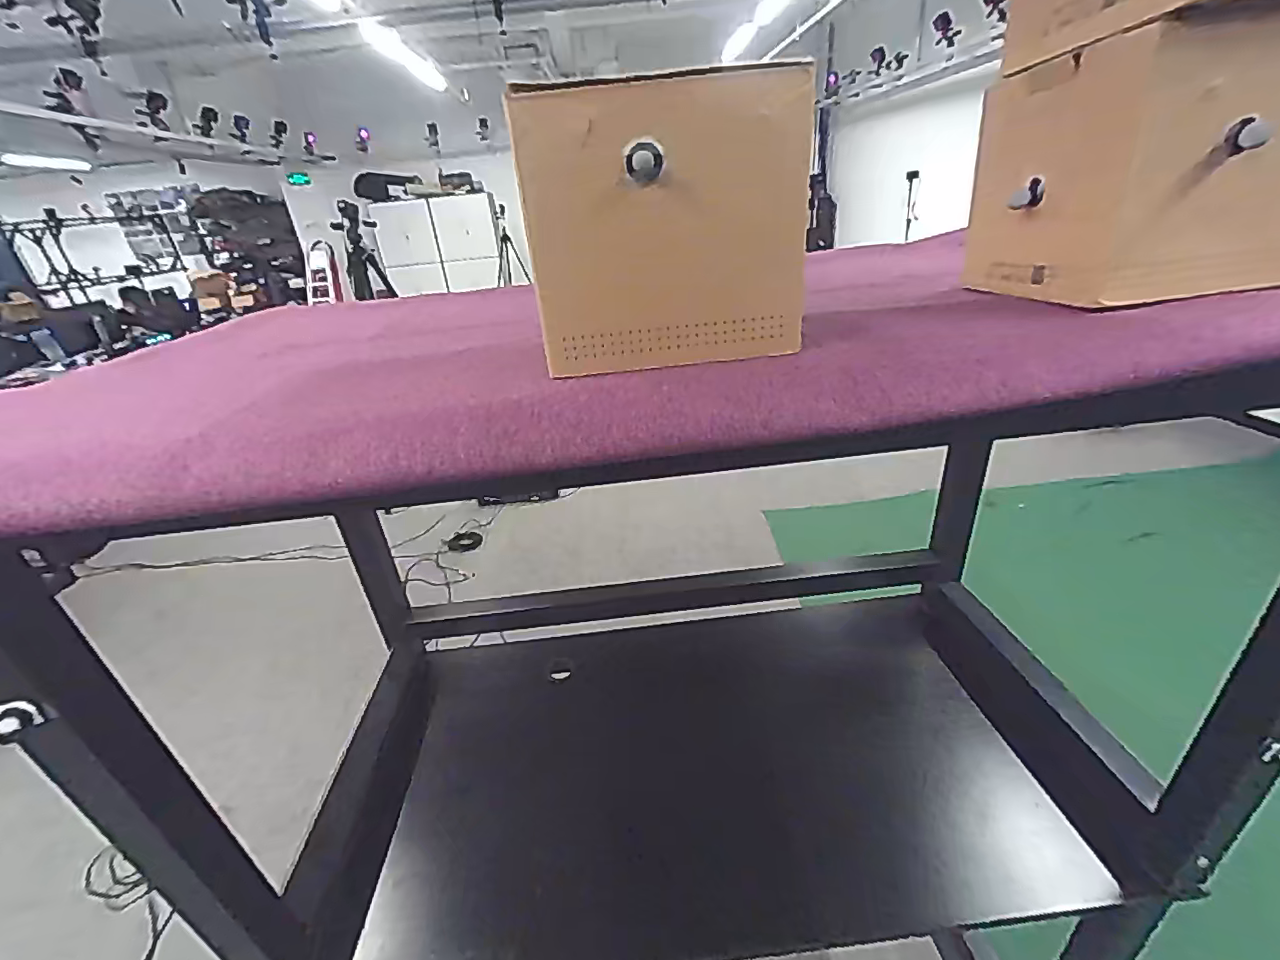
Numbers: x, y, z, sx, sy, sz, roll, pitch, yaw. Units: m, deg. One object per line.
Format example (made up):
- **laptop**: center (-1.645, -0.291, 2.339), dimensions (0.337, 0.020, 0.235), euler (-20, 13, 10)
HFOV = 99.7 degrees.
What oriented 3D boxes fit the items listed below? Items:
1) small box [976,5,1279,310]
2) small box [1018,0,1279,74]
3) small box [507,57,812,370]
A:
- **small box**: center (0.392, -0.234, 0.419), dimensions (0.179, 0.176, 0.168), euler (-7, 25, 0)
- **small box**: center (0.375, -0.375, 0.338), dimensions (0.179, 0.176, 0.168), euler (-7, 25, 0)
- **small box**: center (0.015, -0.187, 0.406), dimensions (0.179, 0.176, 0.168), euler (-5, 28, 0)
